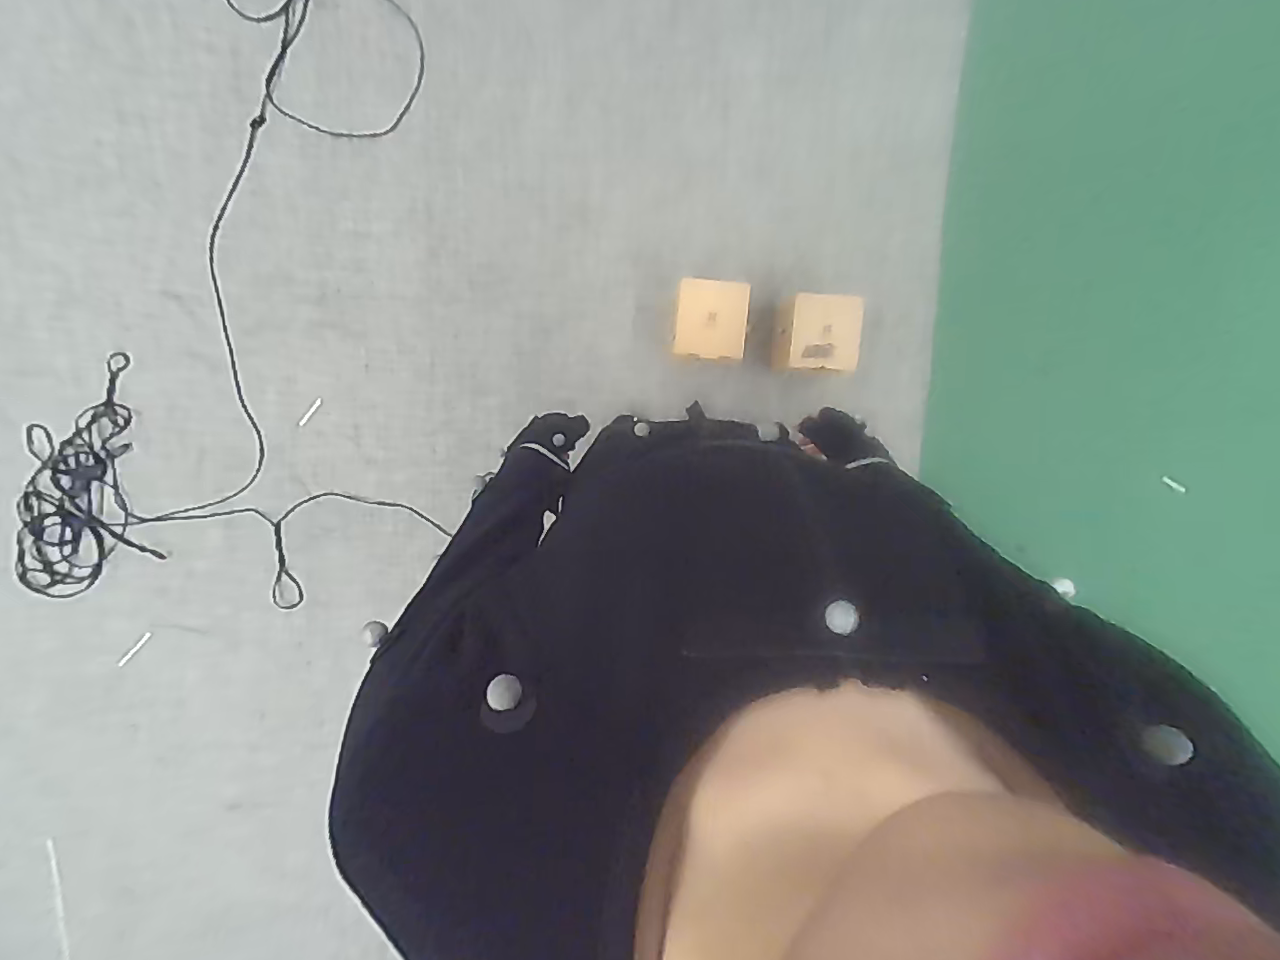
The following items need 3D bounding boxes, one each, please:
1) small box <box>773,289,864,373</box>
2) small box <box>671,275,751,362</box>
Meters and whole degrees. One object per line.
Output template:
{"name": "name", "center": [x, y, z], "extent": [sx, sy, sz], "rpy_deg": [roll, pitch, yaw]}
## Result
{"name": "small box", "center": [0.436, -0.363, 1.345], "extent": [0.168, 0.176, 0.179], "rpy_deg": [4, 97, 0]}
{"name": "small box", "center": [0.168, -0.394, 1.342], "extent": [0.168, 0.176, 0.179], "rpy_deg": [4, 98, -1]}
